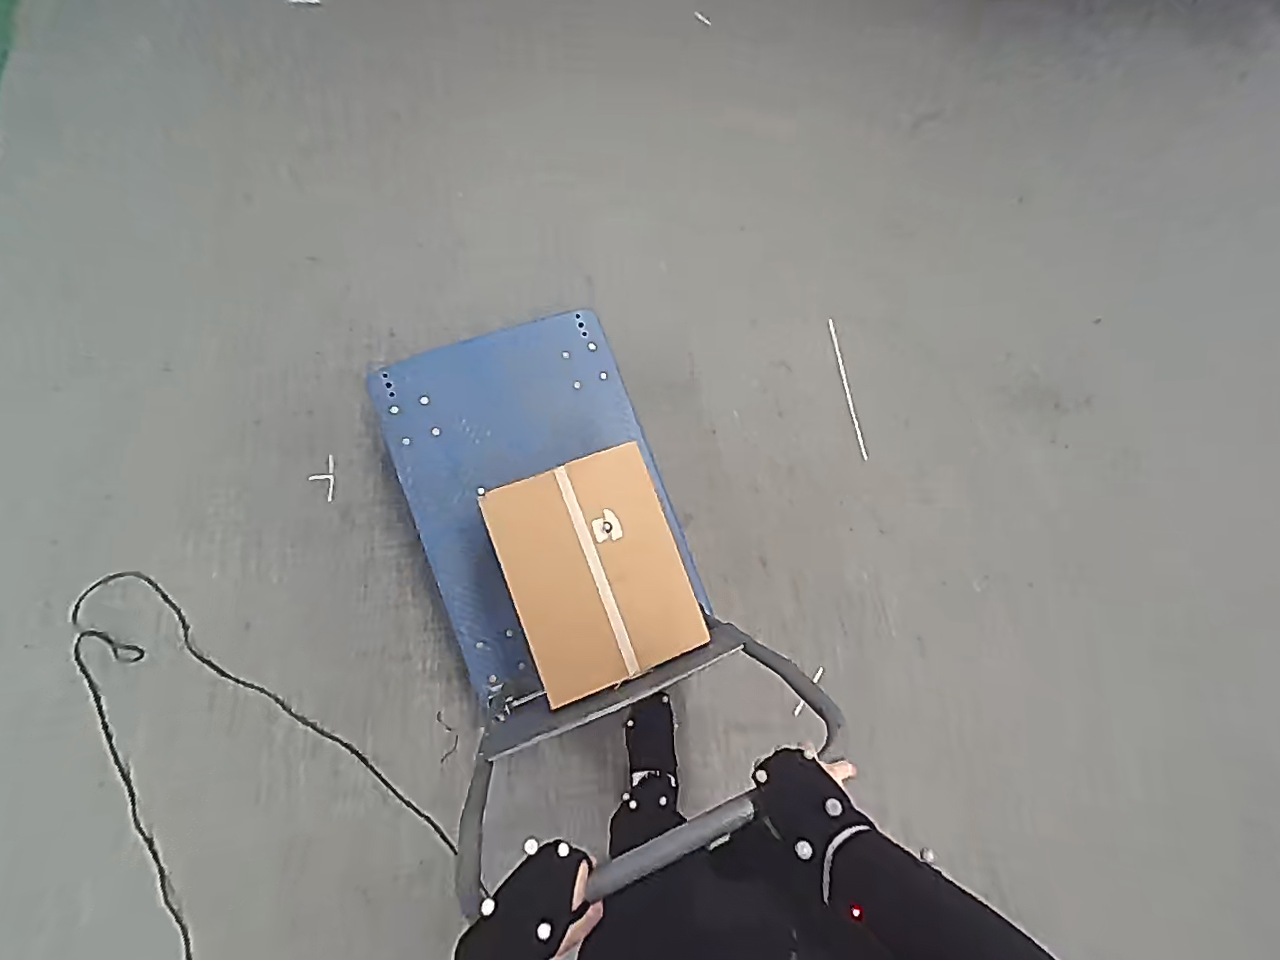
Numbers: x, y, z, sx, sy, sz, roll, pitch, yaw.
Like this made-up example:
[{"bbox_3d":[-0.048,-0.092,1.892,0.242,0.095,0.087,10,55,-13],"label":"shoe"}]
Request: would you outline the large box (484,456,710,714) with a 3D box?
[{"bbox_3d":[-0.095,0.209,1.155,0.320,0.320,0.408,-20,85,-11],"label":"large box"}]
